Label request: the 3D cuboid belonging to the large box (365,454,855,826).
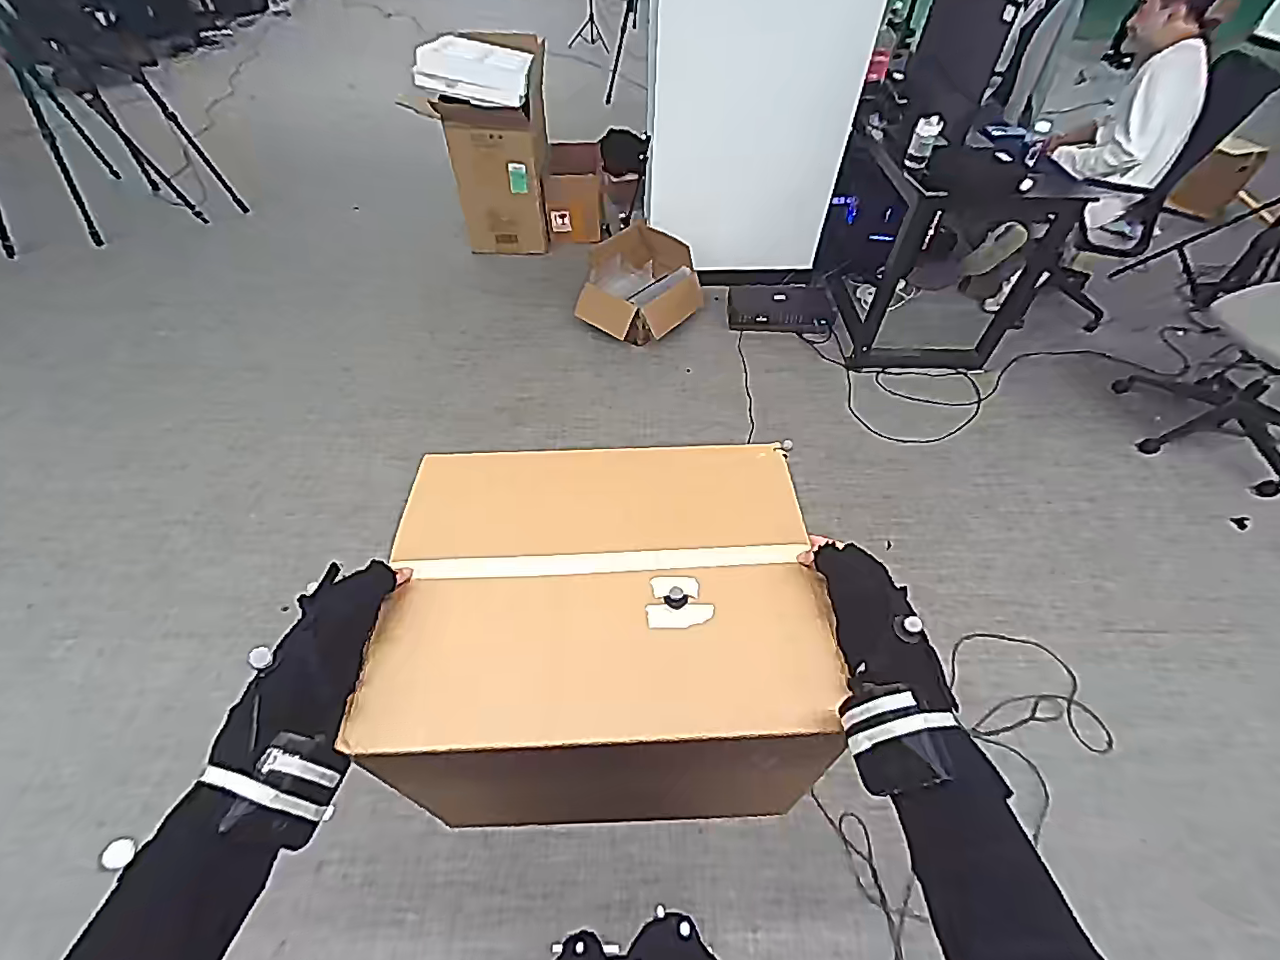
[{"bbox_3d":[-0.029,0.190,0.640,0.408,0.320,0.320,-2,48,-1],"label":"large box"}]
